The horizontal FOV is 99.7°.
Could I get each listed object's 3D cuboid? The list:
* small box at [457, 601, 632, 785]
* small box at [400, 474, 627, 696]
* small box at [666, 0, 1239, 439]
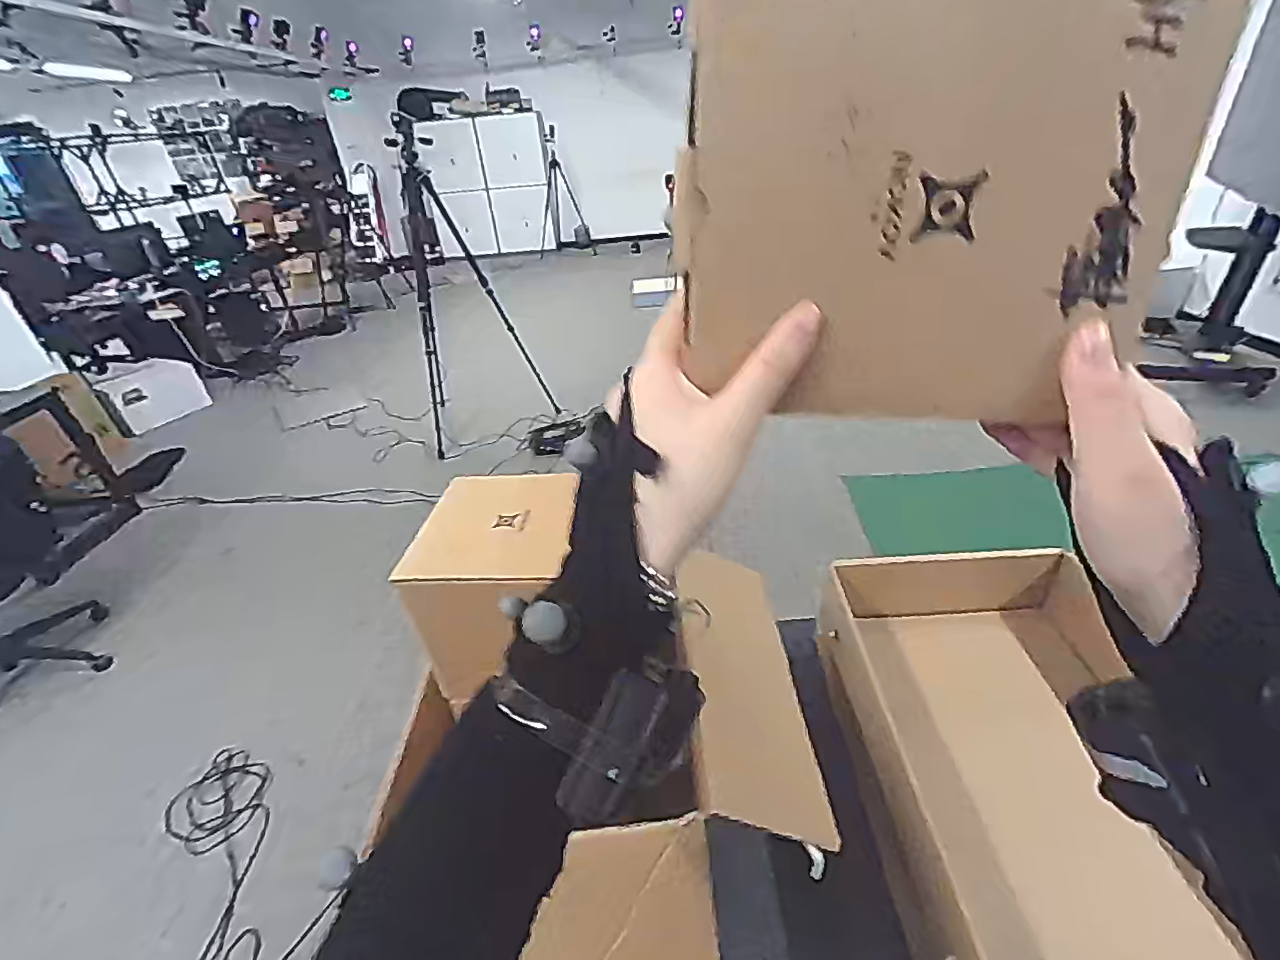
[{"bbox_3d":[-0.100,0.242,0.665,0.168,0.176,0.179,-2,35,5],"label":"small box"},{"bbox_3d":[-0.114,0.109,0.574,0.179,0.176,0.168,-1,34,5],"label":"small box"},{"bbox_3d":[0.111,-0.129,0.277,0.179,0.168,0.176,4,24,7],"label":"small box"}]
